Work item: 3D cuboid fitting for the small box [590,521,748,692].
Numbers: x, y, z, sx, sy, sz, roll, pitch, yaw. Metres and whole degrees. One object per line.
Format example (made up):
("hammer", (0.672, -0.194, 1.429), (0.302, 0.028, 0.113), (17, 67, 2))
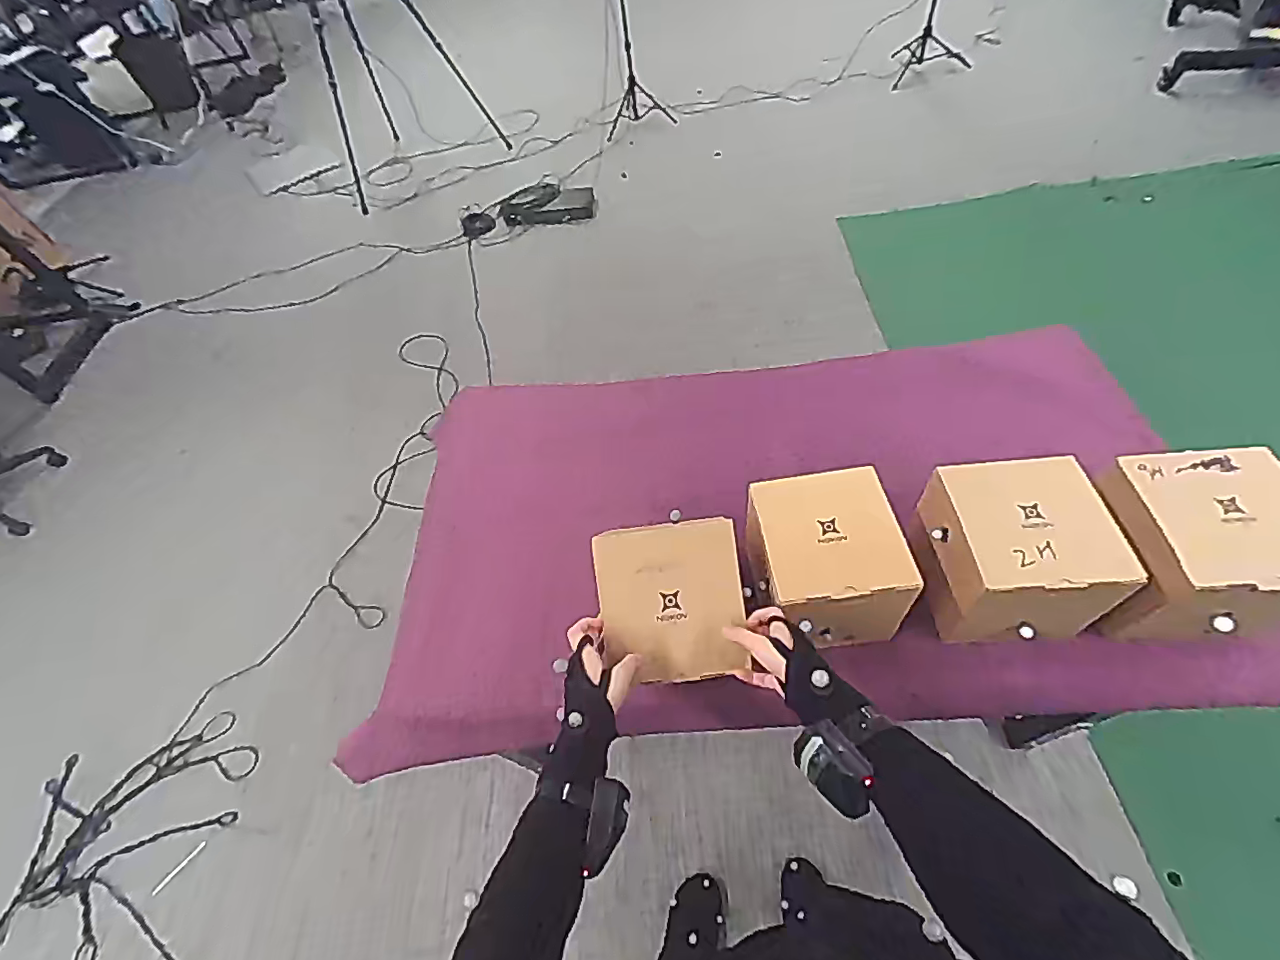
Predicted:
("small box", (0.040, 0.150, 0.692), (0.168, 0.176, 0.179), (-8, 86, 4))
